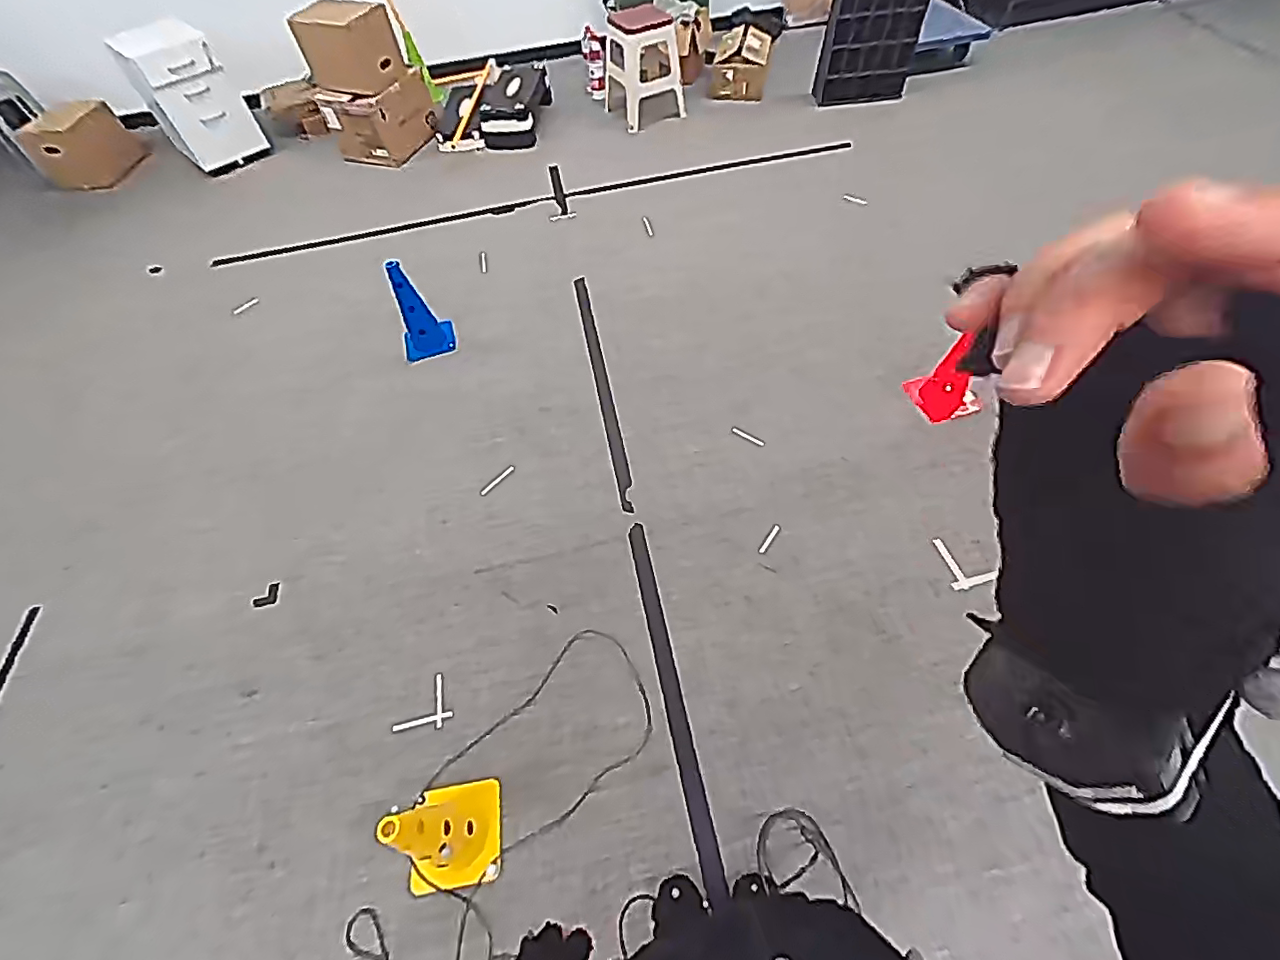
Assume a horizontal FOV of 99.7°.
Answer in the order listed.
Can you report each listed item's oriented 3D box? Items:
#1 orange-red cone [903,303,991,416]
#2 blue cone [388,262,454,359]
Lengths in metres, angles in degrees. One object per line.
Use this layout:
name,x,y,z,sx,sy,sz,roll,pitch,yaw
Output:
orange-red cone,1.024,-0.407,1.730,0.198,0.360,0.199,-16,54,-6
blue cone,-0.883,-0.667,2.091,0.192,0.380,0.193,-17,56,-6
